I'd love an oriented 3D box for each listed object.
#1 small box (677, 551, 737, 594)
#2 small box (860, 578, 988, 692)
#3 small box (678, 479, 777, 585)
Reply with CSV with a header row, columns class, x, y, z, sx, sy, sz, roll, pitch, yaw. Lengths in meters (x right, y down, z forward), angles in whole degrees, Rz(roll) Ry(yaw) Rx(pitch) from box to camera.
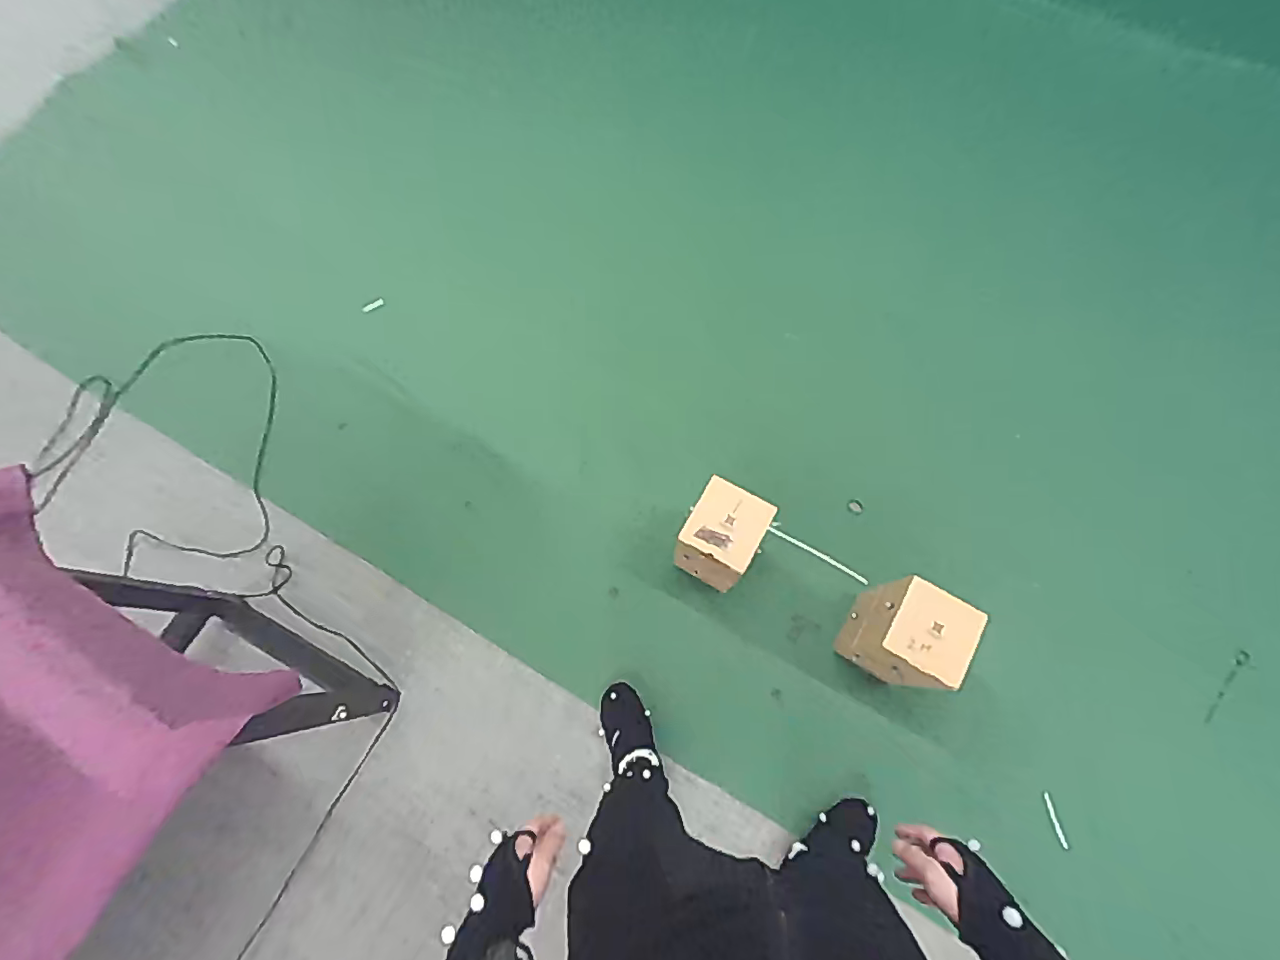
class,x,y,z,sx,sy,sz,roll,pitch,yaw
small box,0.205,0.182,1.435,0.168,0.176,0.179,28,75,11
small box,0.615,0.342,1.193,0.168,0.176,0.179,30,75,11
small box,0.200,0.130,1.280,0.168,0.176,0.179,29,74,10
